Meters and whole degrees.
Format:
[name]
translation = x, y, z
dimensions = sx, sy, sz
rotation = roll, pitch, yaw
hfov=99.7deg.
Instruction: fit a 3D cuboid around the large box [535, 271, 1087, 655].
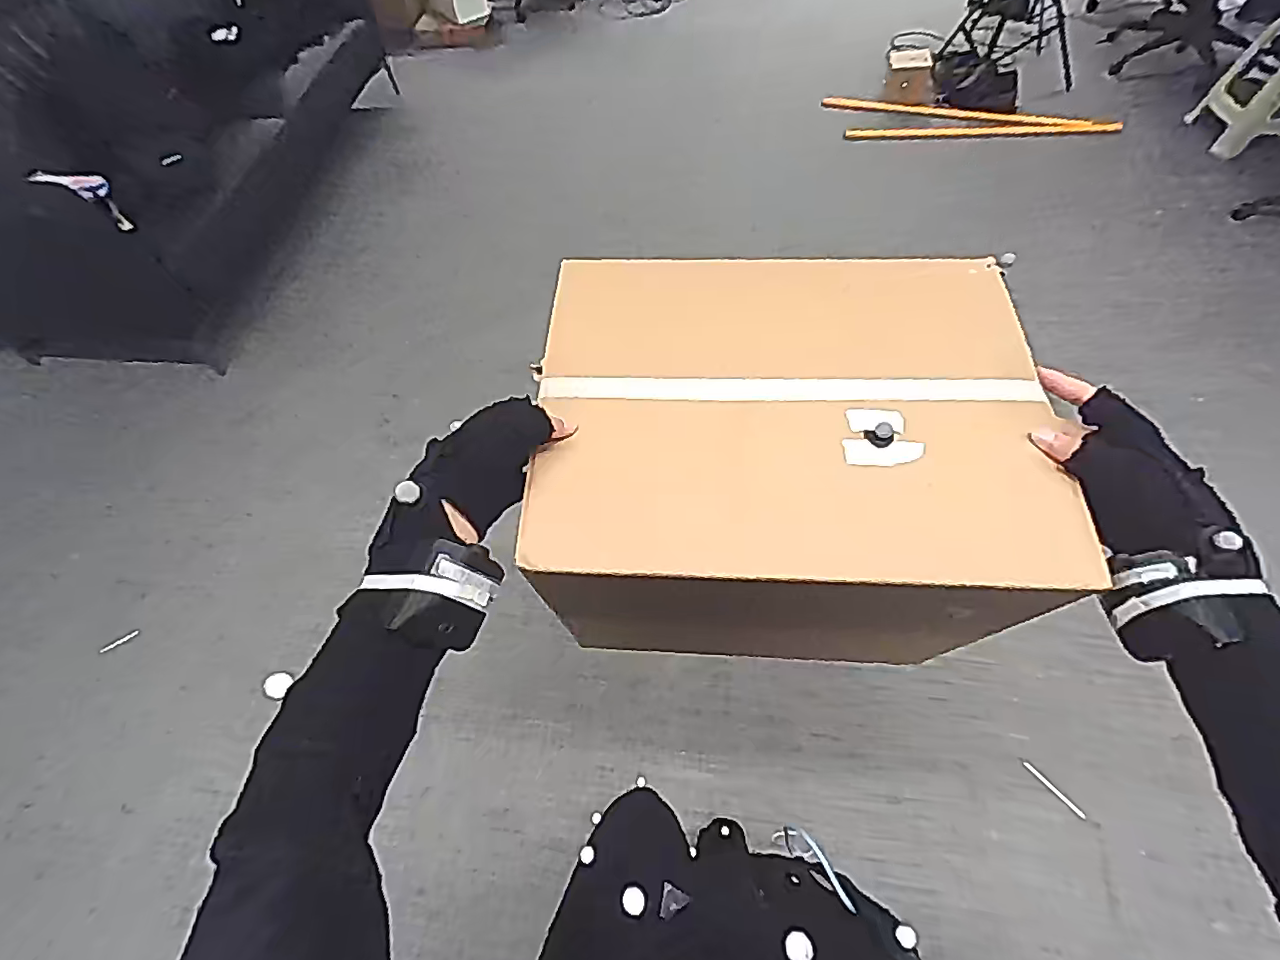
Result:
[large box]
translation = 0.126, 0.001, 0.587
dimensions = 0.408, 0.320, 0.320
rotation = 1, 63, 3
